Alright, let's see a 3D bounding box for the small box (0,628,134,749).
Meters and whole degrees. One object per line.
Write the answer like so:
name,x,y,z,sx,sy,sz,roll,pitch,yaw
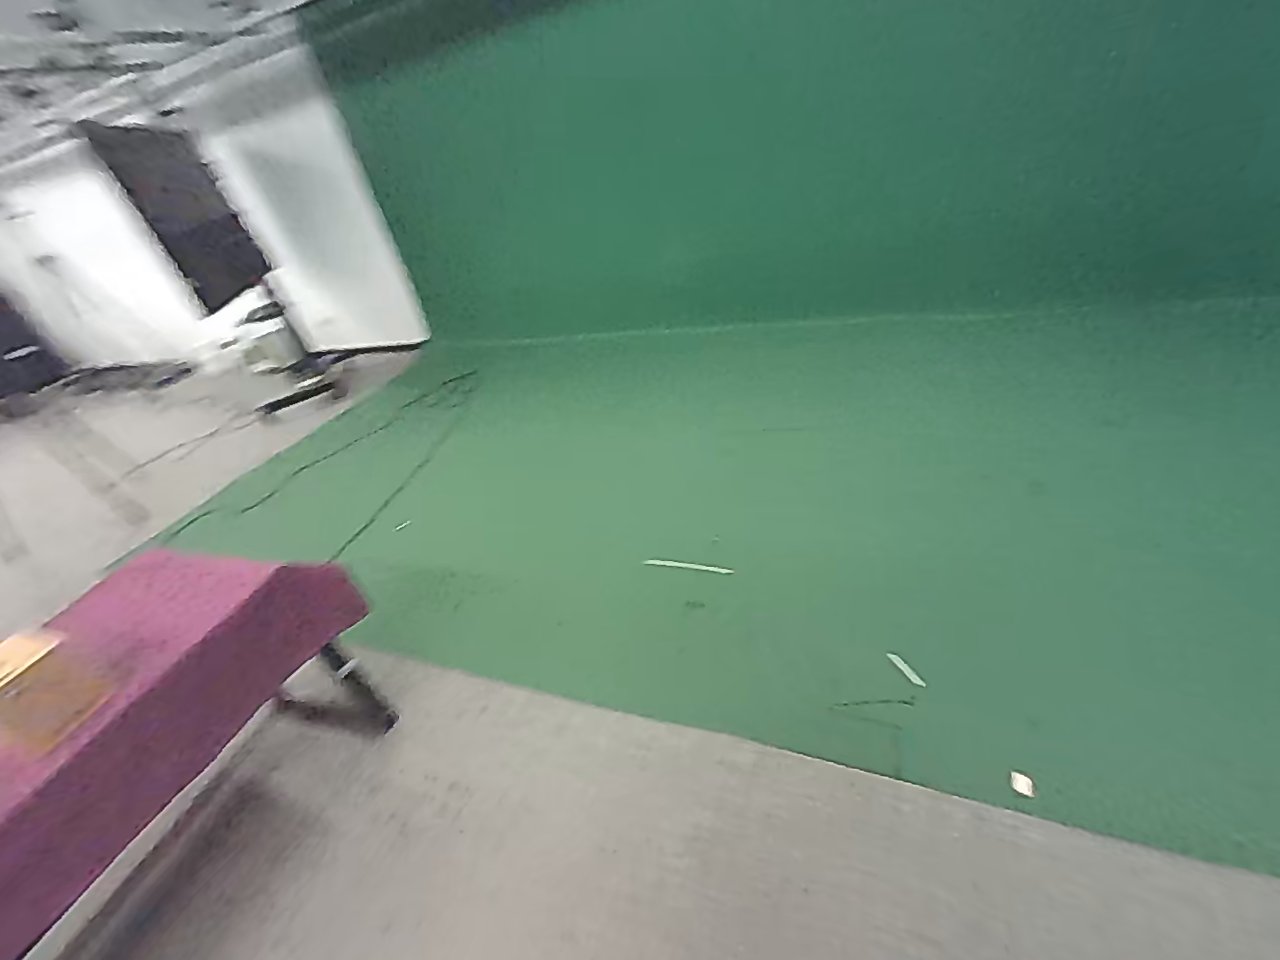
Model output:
small box,-1.243,0.436,1.133,0.179,0.176,0.168,1,38,22
